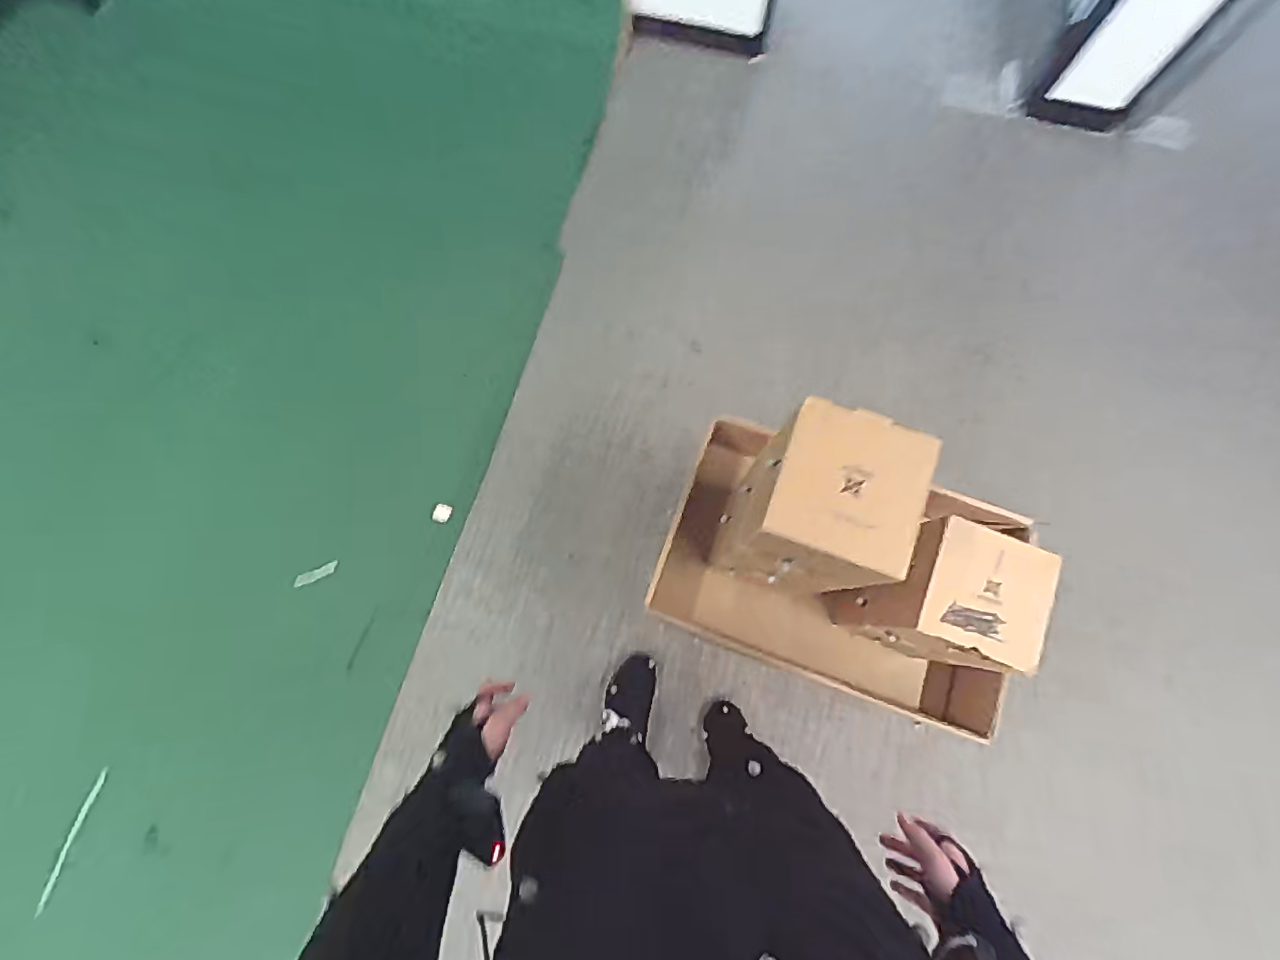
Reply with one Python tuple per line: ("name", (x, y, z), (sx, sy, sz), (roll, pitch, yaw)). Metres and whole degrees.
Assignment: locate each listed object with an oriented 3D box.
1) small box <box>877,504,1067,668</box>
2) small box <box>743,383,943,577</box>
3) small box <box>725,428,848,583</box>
("small box", (0.483, 0.160, 0.814), (0.168, 0.176, 0.179), (22, 78, 6))
("small box", (0.241, 0.010, 0.683), (0.168, 0.176, 0.179), (21, 78, 6))
("small box", (0.242, 0.048, 0.841), (0.168, 0.176, 0.179), (20, 77, 6))
